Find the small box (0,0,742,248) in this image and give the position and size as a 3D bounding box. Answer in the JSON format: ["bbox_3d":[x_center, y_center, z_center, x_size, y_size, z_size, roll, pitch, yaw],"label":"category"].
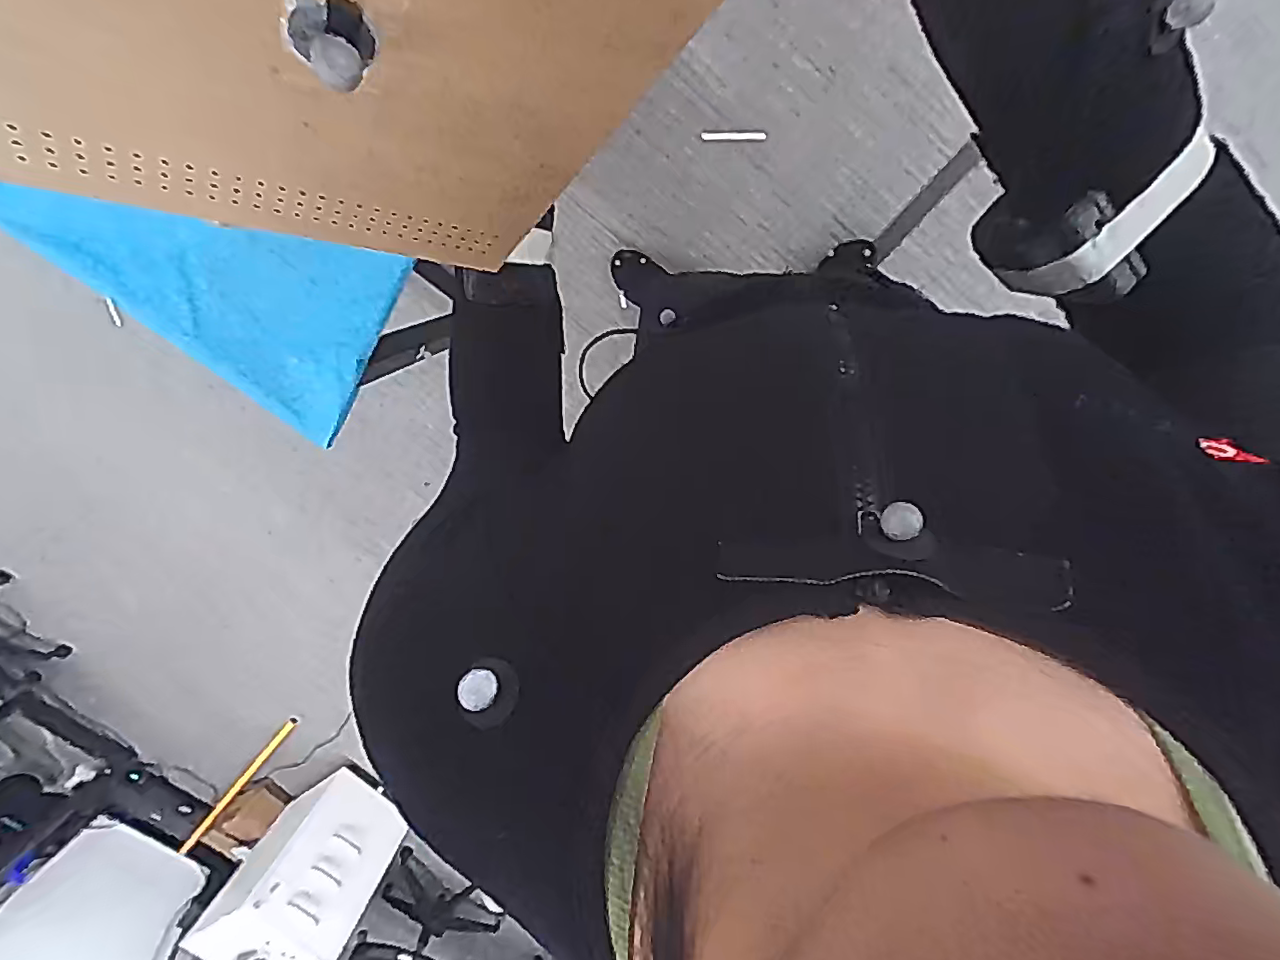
[{"bbox_3d":[-0.096,-0.201,0.171,0.176,0.179,0.168,-21,80,47],"label":"small box"}]
